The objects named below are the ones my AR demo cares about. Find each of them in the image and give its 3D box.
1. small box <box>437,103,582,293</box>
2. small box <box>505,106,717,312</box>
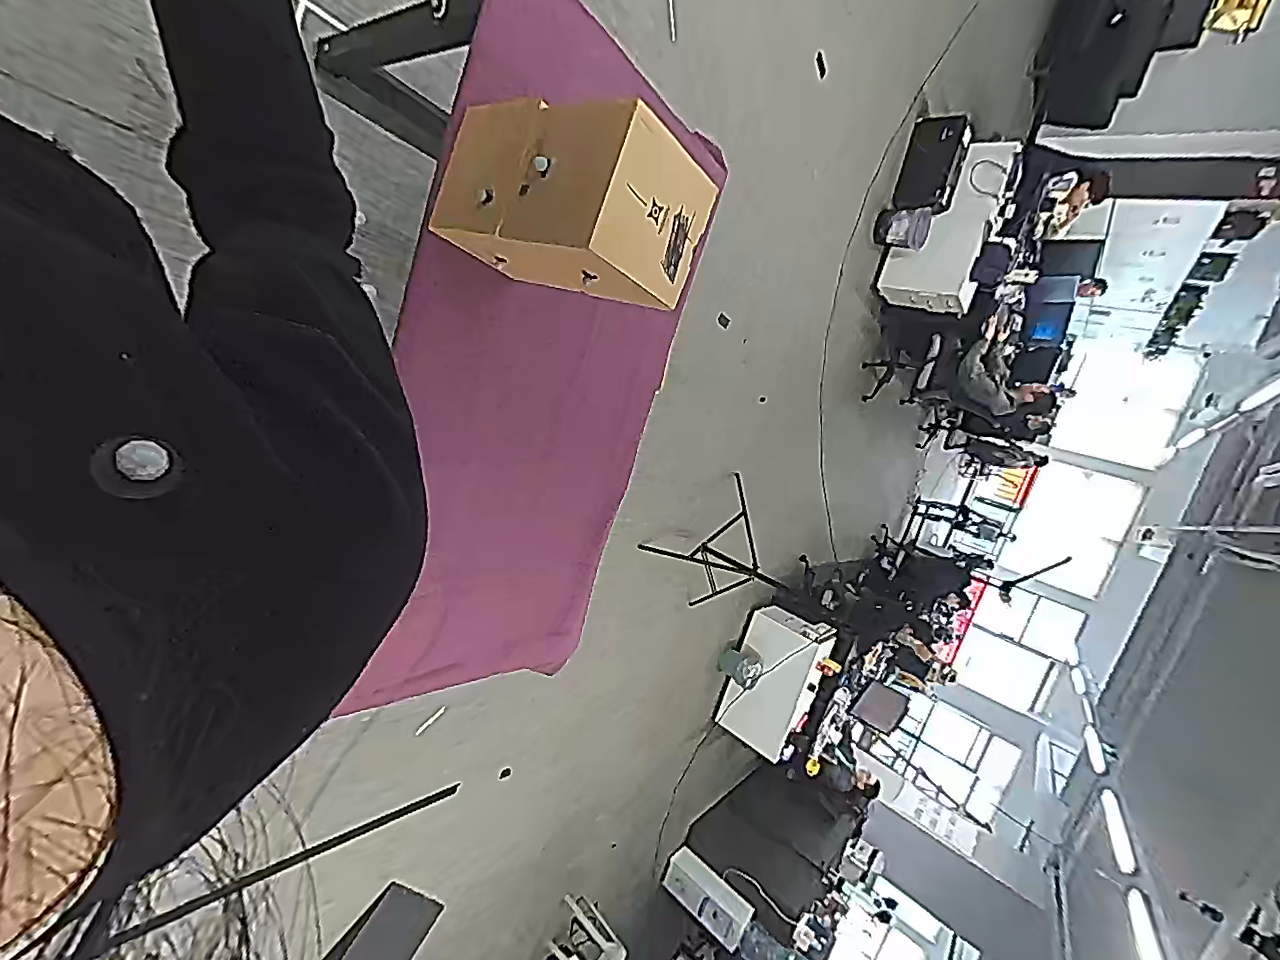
[{"bbox_3d":[-0.163,-0.395,0.777,0.168,0.176,0.179,15,97,-54],"label":"small box"},{"bbox_3d":[-0.036,-0.337,0.689,0.179,0.176,0.168,14,99,-53],"label":"small box"}]
